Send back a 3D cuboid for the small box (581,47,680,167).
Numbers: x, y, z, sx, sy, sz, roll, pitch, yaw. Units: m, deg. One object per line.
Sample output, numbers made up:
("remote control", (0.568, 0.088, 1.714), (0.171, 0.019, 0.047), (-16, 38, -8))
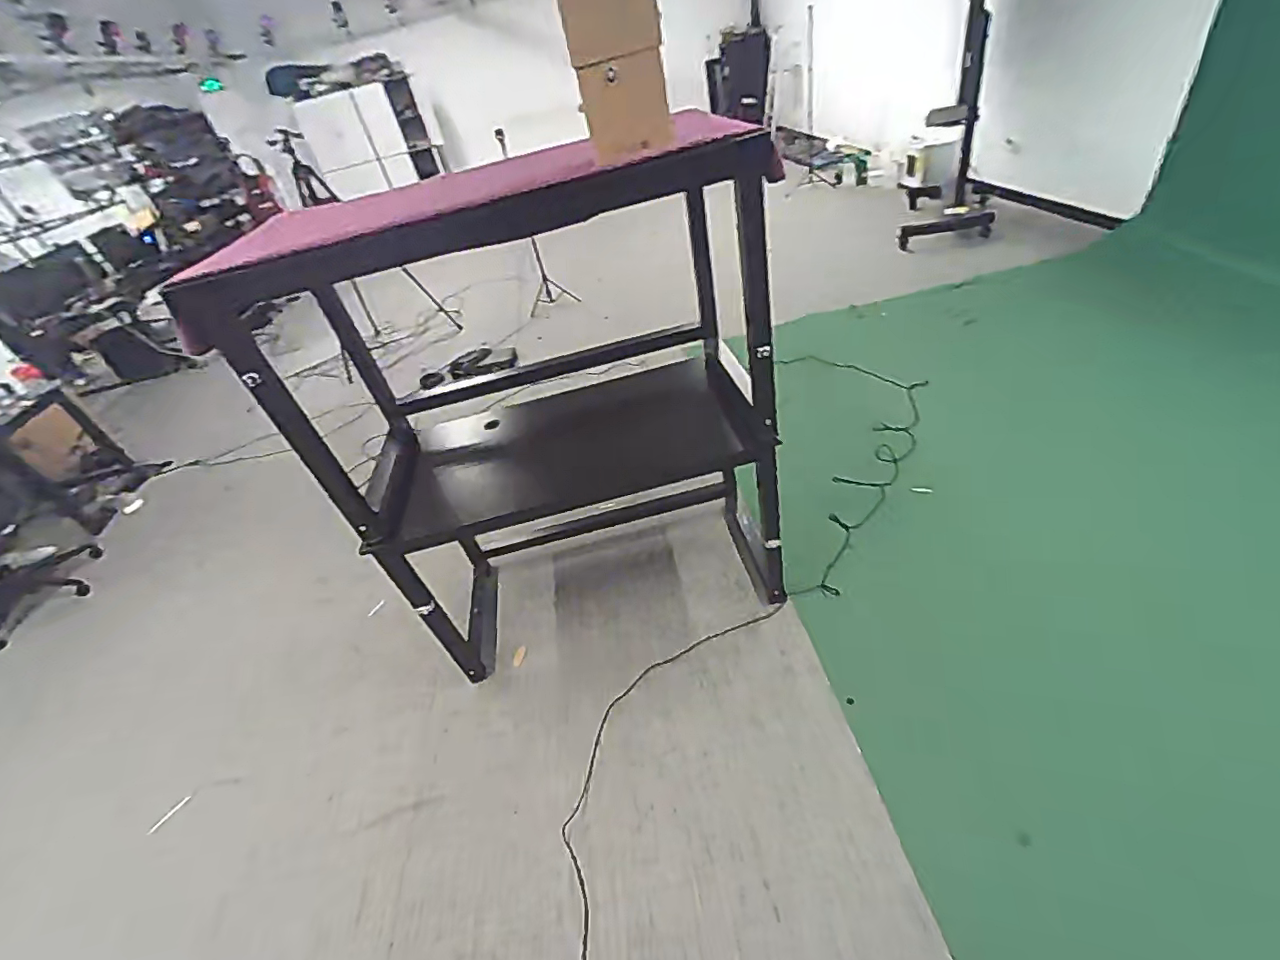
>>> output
("small box", (-0.019, -0.762, 1.111), (0.168, 0.176, 0.179), (-13, 38, 4))
